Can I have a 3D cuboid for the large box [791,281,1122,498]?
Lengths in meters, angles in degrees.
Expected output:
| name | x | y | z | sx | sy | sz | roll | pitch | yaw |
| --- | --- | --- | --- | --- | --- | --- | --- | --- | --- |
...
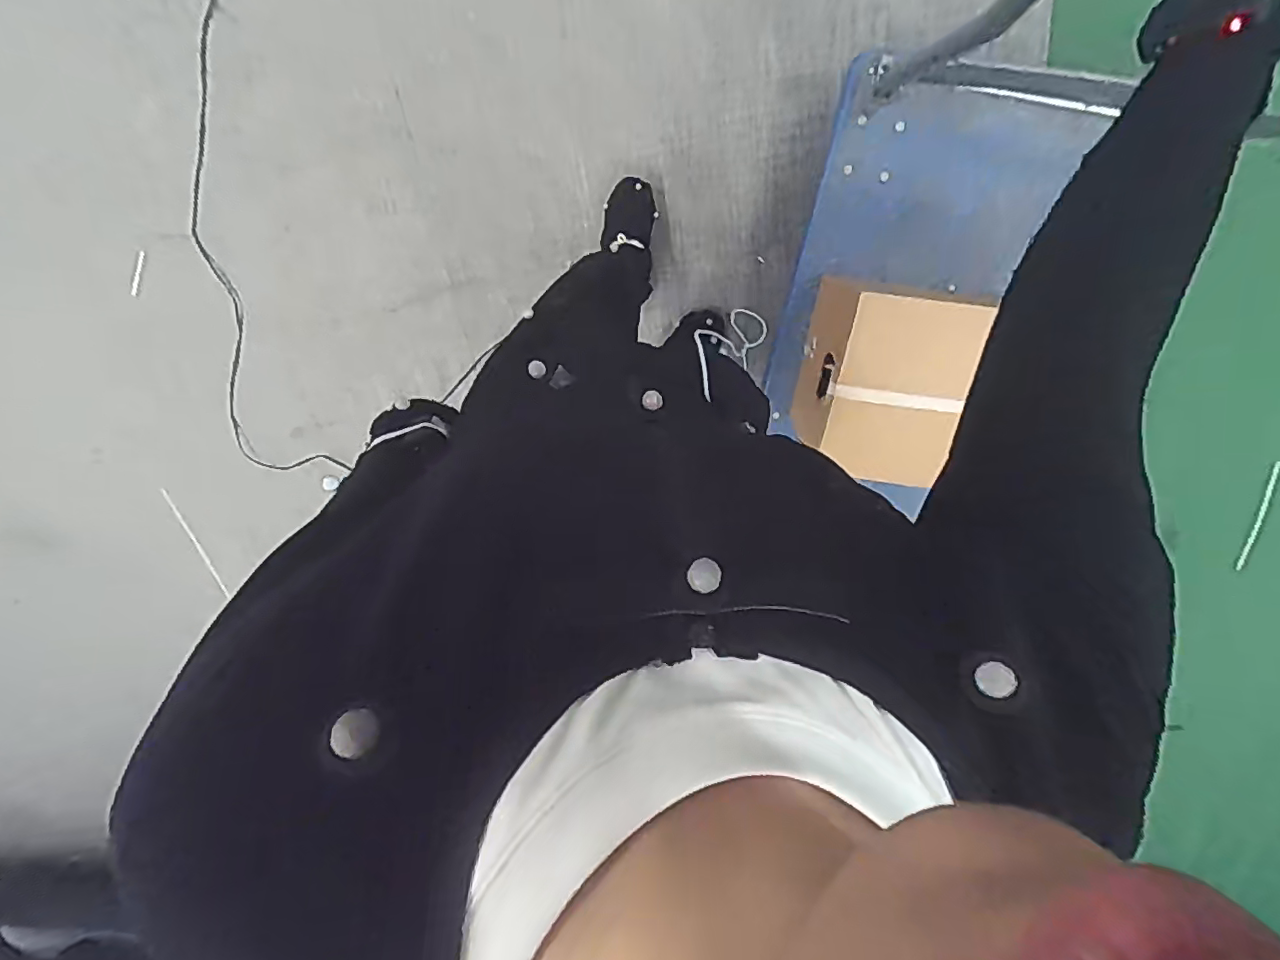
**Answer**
| name | x | y | z | sx | sy | sz | roll | pitch | yaw |
| --- | --- | --- | --- | --- | --- | --- | --- | --- | --- |
| large box | 0.534 | -0.189 | 1.023 | 0.408 | 0.320 | 0.320 | 8 | 116 | 3 |
